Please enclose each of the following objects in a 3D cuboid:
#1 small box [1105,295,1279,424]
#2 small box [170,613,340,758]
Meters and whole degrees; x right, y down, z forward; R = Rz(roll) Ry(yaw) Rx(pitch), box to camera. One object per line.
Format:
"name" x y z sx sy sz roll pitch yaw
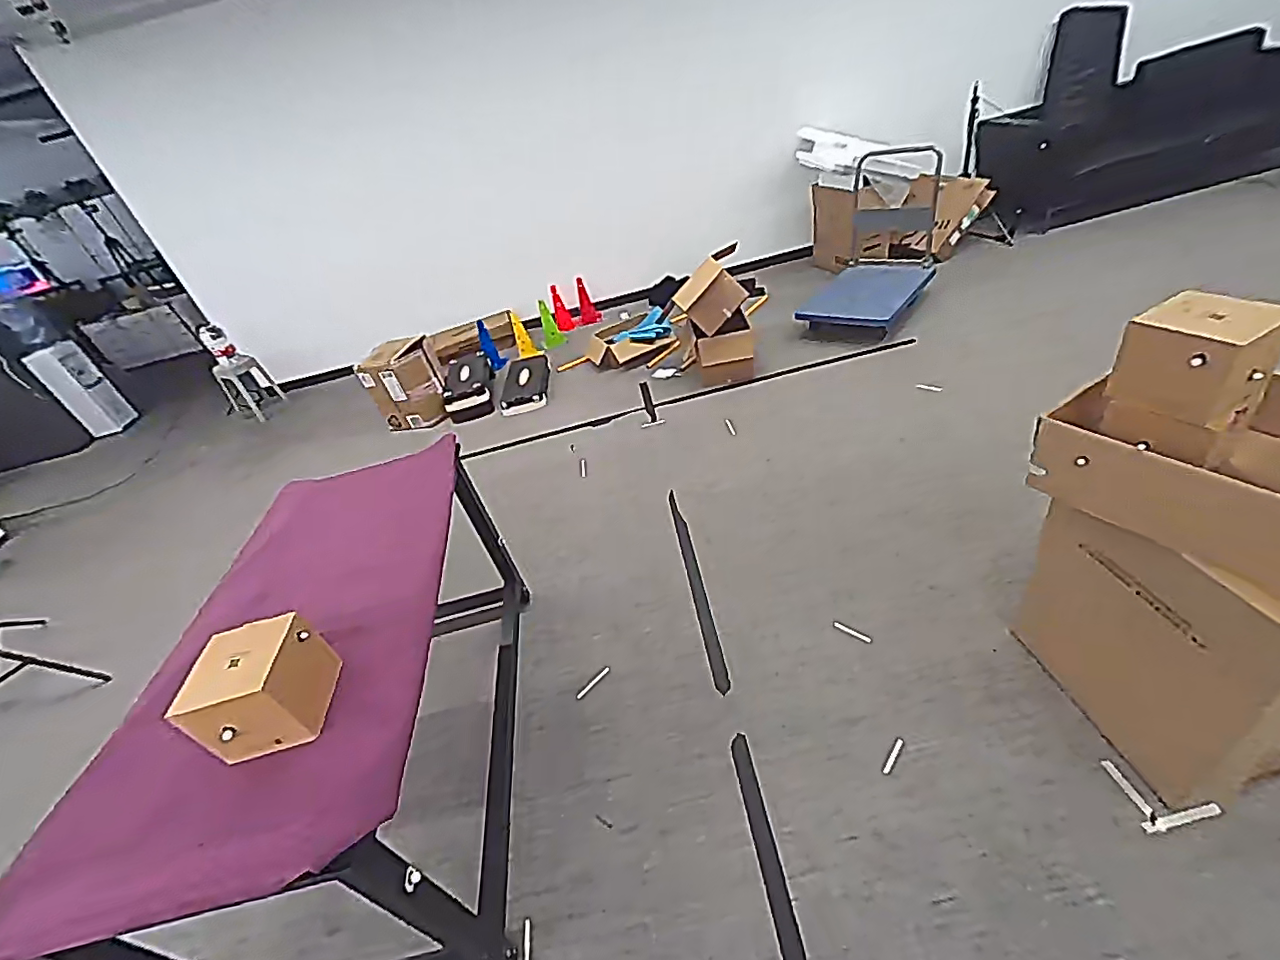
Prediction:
"small box" 1.046 -0.226 1.025 0.168 0.176 0.179 -25 36 -12
"small box" -0.689 0.384 0.998 0.168 0.176 0.179 -16 35 -2
